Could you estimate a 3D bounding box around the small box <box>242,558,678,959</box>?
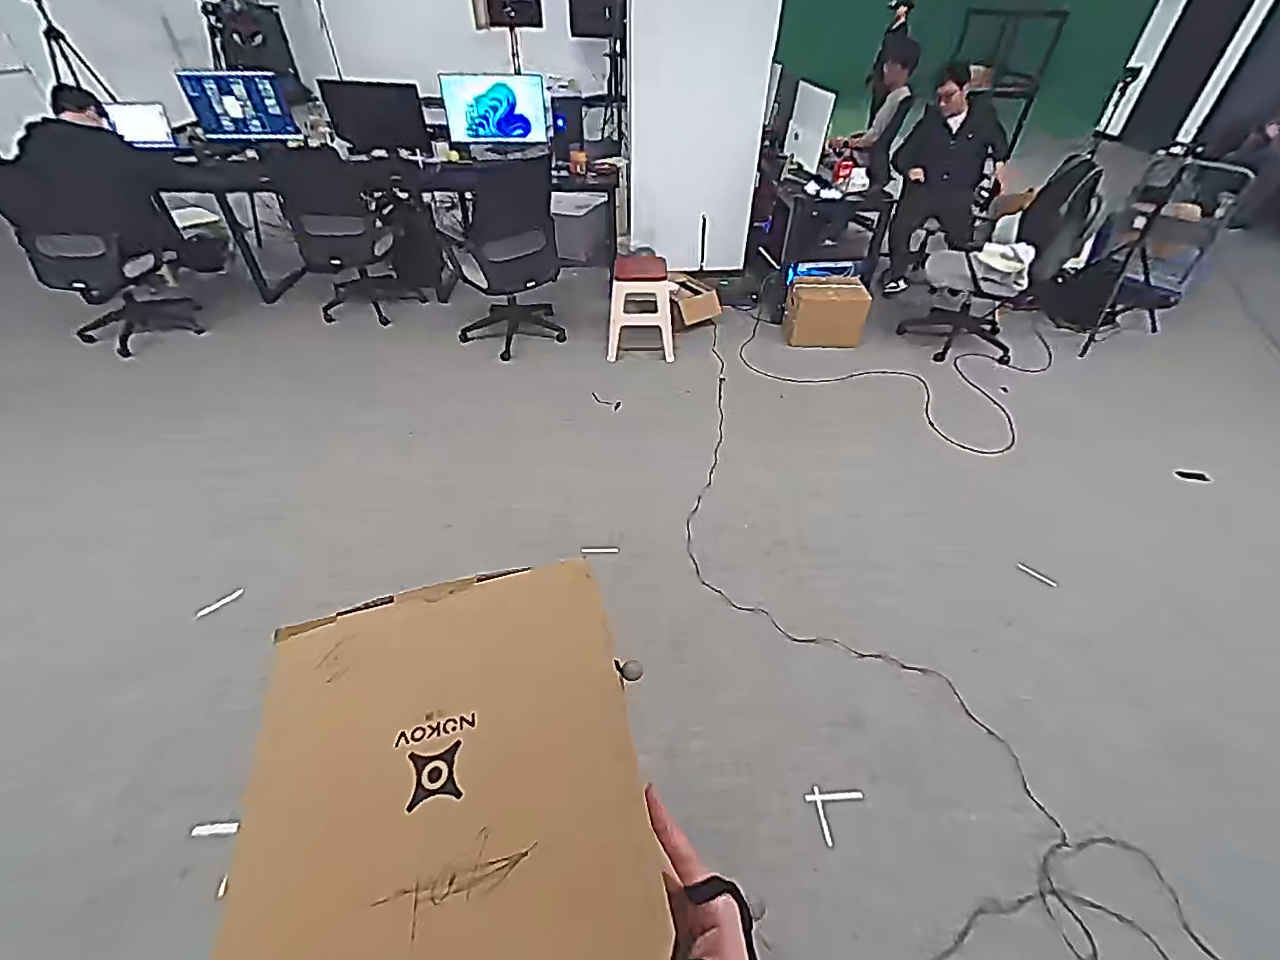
[{"bbox_3d":[-0.080,0.176,0.311,0.168,0.176,0.179,-15,53,-5],"label":"small box"}]
